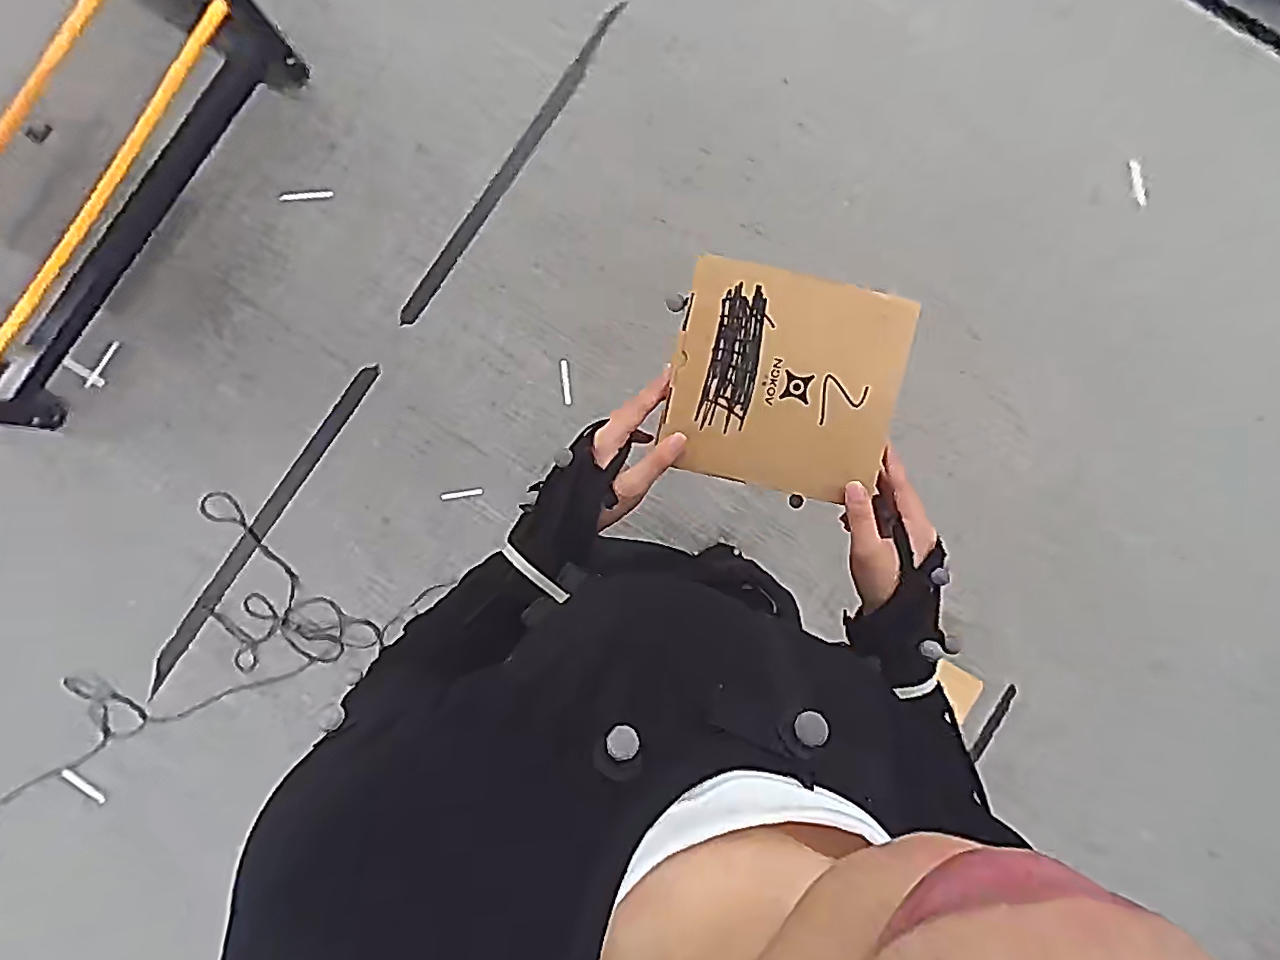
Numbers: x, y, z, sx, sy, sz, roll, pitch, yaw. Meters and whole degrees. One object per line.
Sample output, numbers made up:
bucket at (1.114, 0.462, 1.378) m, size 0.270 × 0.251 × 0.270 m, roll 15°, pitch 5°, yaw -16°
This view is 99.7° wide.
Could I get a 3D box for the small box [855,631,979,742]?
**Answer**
small box at (0.653, 0.483, 1.300) m, size 0.179 × 0.176 × 0.168 m, roll 32°, pitch 88°, yaw 1°
